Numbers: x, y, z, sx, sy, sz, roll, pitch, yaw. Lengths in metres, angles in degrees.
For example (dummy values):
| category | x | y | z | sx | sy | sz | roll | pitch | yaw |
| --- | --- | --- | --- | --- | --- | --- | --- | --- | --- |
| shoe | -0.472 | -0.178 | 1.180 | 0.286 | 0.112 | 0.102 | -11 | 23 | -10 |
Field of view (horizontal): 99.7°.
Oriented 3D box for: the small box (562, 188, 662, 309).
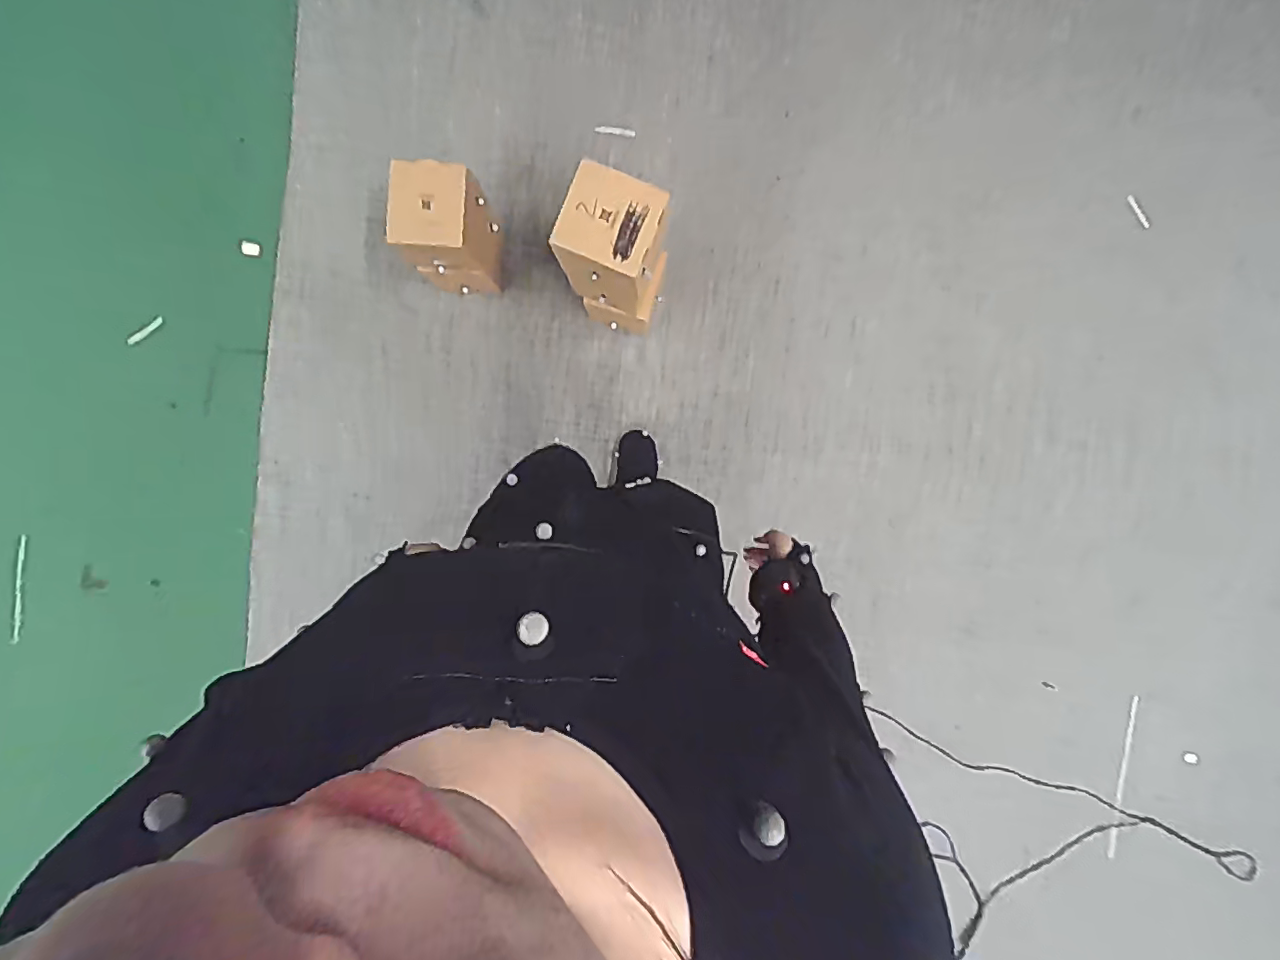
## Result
| category | x | y | z | sx | sy | sz | roll | pitch | yaw |
| --- | --- | --- | --- | --- | --- | --- | --- | --- | --- |
| small box | -0.057 | -0.506 | 1.210 | 0.168 | 0.176 | 0.179 | 21 | 94 | -1 |

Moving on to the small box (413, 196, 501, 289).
| category | x | y | z | sx | sy | sz | roll | pitch | yaw |
| --- | --- | --- | --- | --- | --- | --- | --- | --- | --- |
| small box | -0.456 | -0.601 | 1.368 | 0.168 | 0.176 | 0.179 | 3 | 93 | 0 |

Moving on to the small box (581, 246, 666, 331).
| category | x | y | z | sx | sy | sz | roll | pitch | yaw |
| --- | --- | --- | --- | --- | --- | --- | --- | --- | --- |
| small box | -0.040 | -0.501 | 1.373 | 0.168 | 0.176 | 0.179 | 17 | 94 | -1 |

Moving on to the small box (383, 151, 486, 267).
| category | x | y | z | sx | sy | sz | roll | pitch | yaw |
| --- | --- | --- | --- | --- | --- | --- | --- | --- | --- |
| small box | -0.450 | -0.597 | 1.206 | 0.168 | 0.176 | 0.179 | 3 | 94 | 1 |
